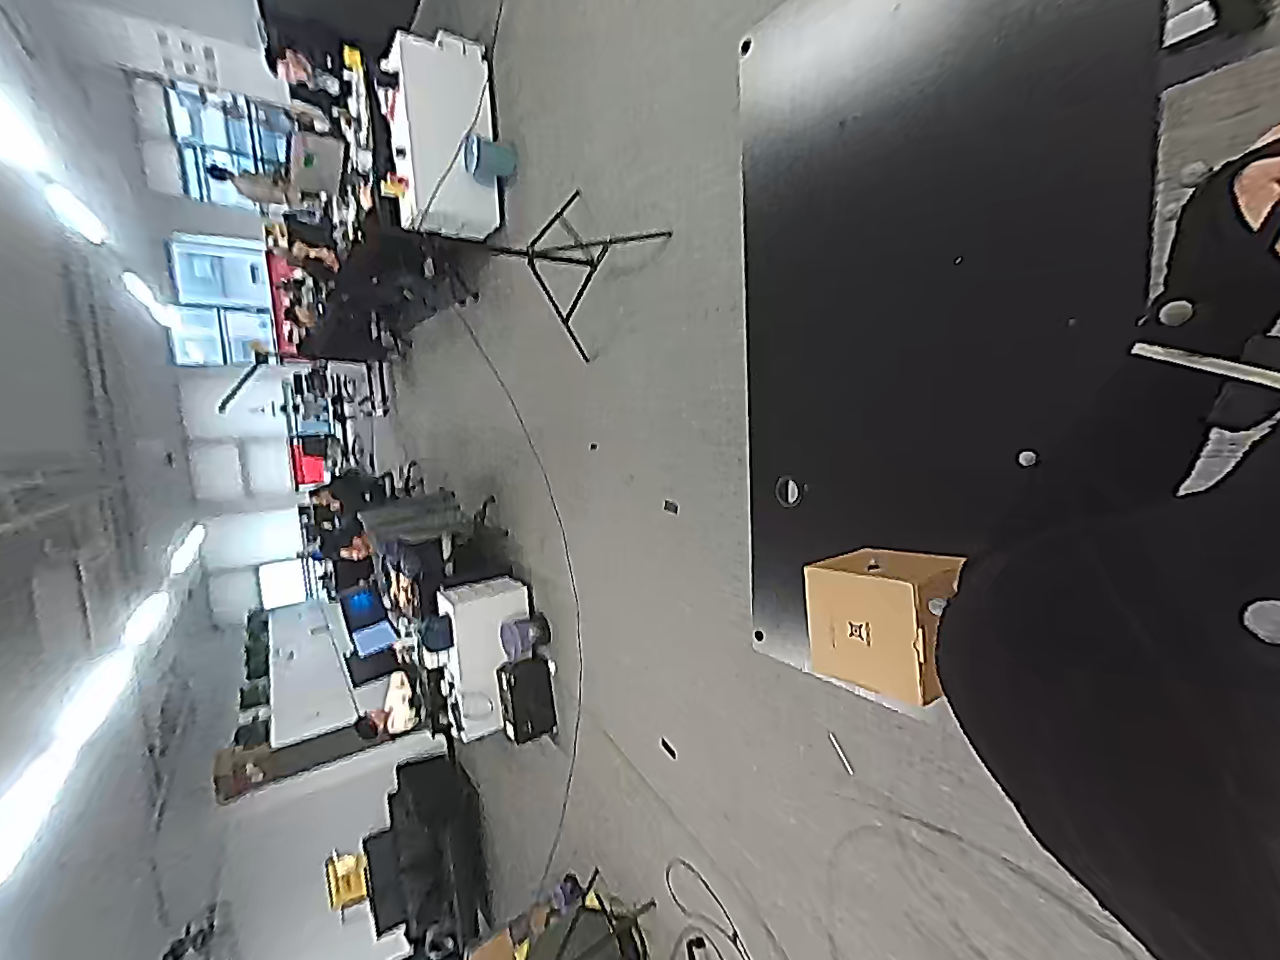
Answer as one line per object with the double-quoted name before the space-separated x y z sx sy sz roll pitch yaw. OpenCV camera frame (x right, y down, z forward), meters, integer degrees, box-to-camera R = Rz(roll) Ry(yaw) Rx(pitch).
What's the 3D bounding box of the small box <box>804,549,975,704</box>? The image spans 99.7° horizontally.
"small box" 0.374 0.202 0.805 0.179 0.176 0.168 -2 94 57
